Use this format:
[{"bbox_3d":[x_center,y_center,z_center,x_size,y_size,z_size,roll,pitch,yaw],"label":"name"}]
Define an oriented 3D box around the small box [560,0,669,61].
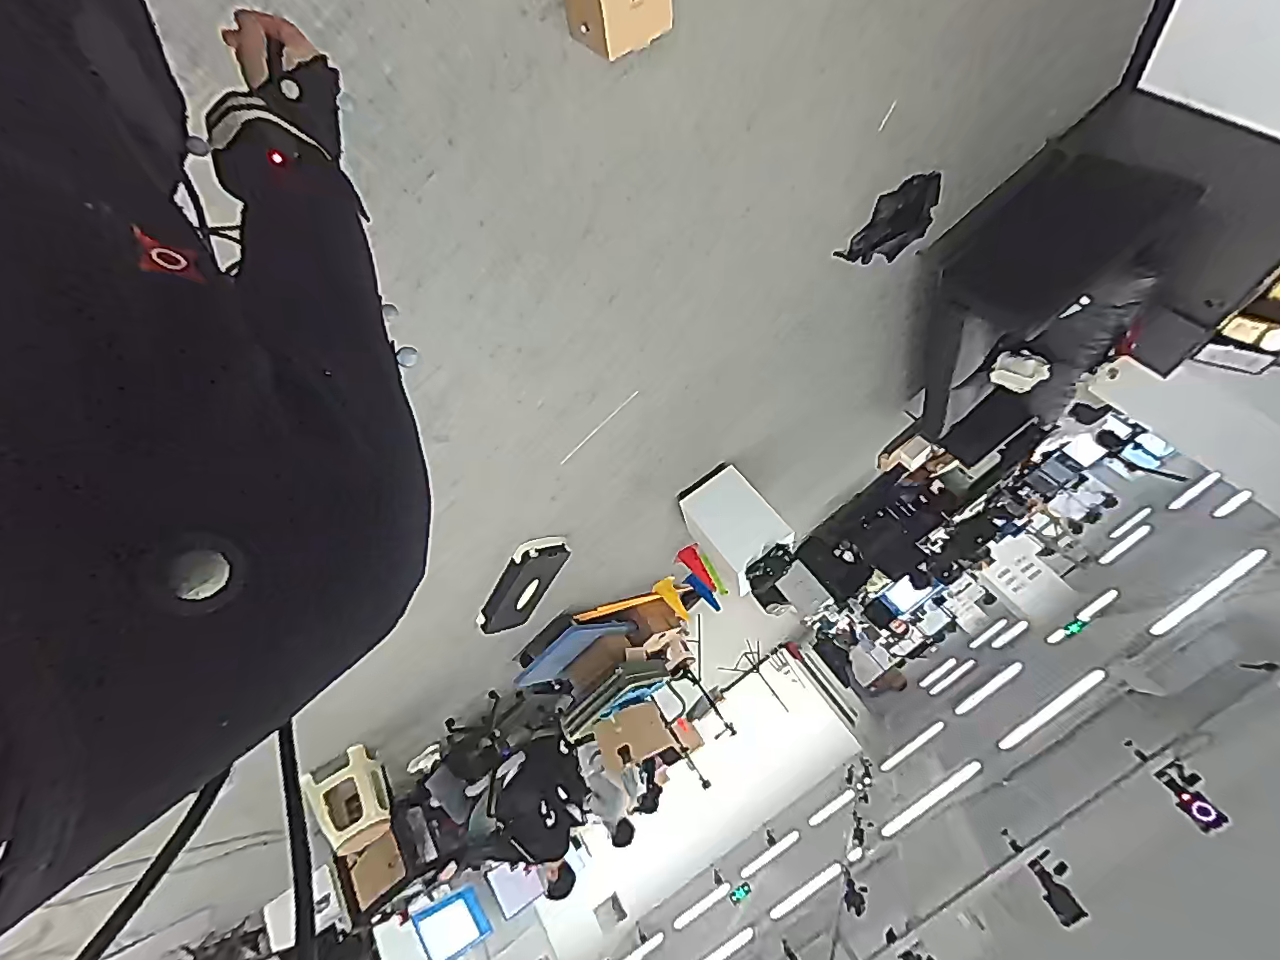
[{"bbox_3d":[-0.060,-1.008,1.096,0.168,0.176,0.179,-35,152,-9],"label":"small box"}]
